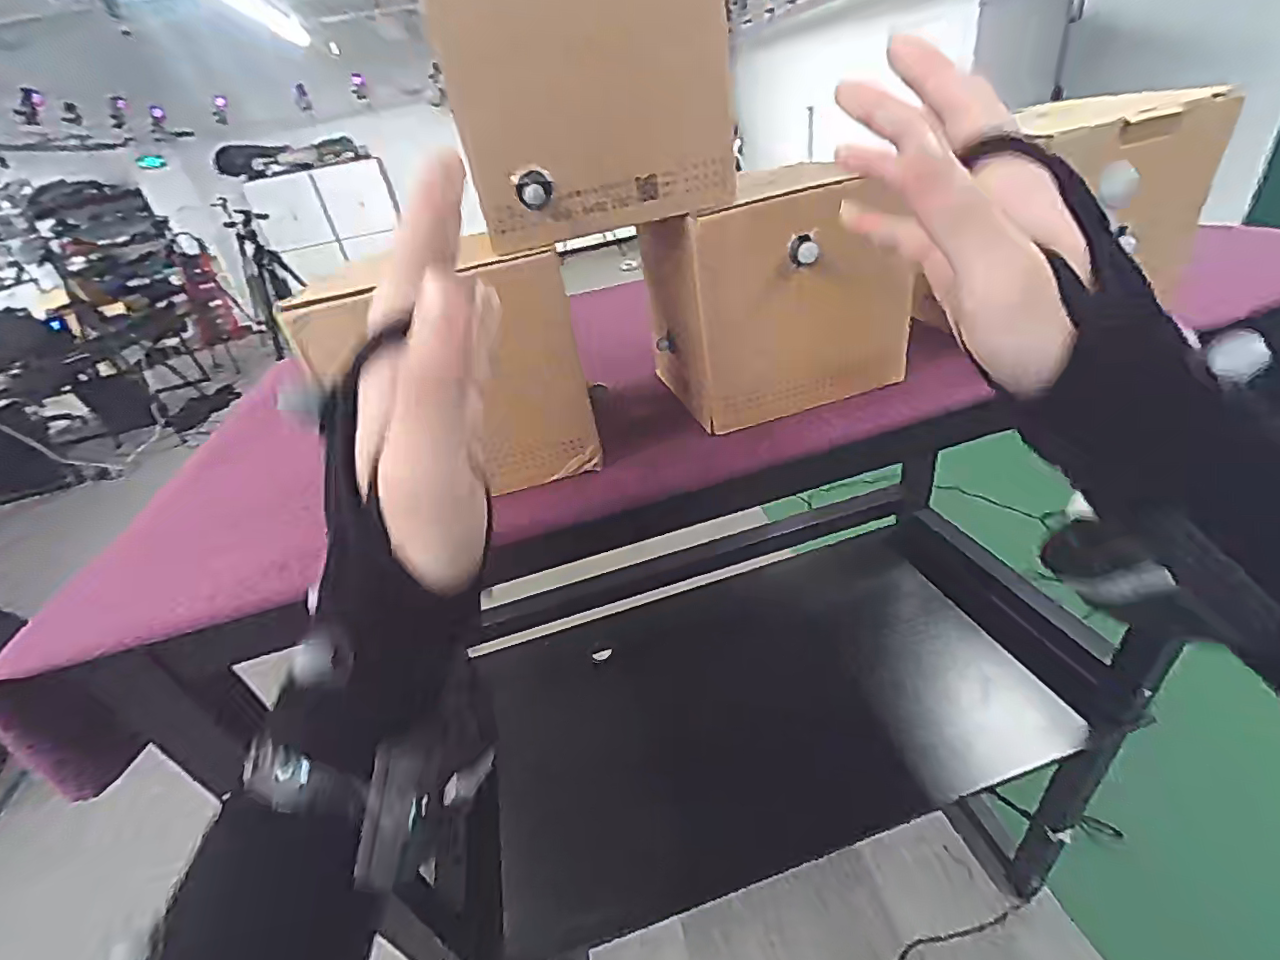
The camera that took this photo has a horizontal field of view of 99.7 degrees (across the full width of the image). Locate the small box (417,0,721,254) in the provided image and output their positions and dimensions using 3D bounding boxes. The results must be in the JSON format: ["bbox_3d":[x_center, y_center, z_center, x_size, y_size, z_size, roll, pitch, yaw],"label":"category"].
[{"bbox_3d":[-0.050,-0.272,0.393,0.168,0.176,0.179,-16,31,-8],"label":"small box"}]

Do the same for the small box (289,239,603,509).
[{"bbox_3d":[-0.139,-0.095,0.453,0.179,0.176,0.168,-13,32,-5],"label":"small box"}]
